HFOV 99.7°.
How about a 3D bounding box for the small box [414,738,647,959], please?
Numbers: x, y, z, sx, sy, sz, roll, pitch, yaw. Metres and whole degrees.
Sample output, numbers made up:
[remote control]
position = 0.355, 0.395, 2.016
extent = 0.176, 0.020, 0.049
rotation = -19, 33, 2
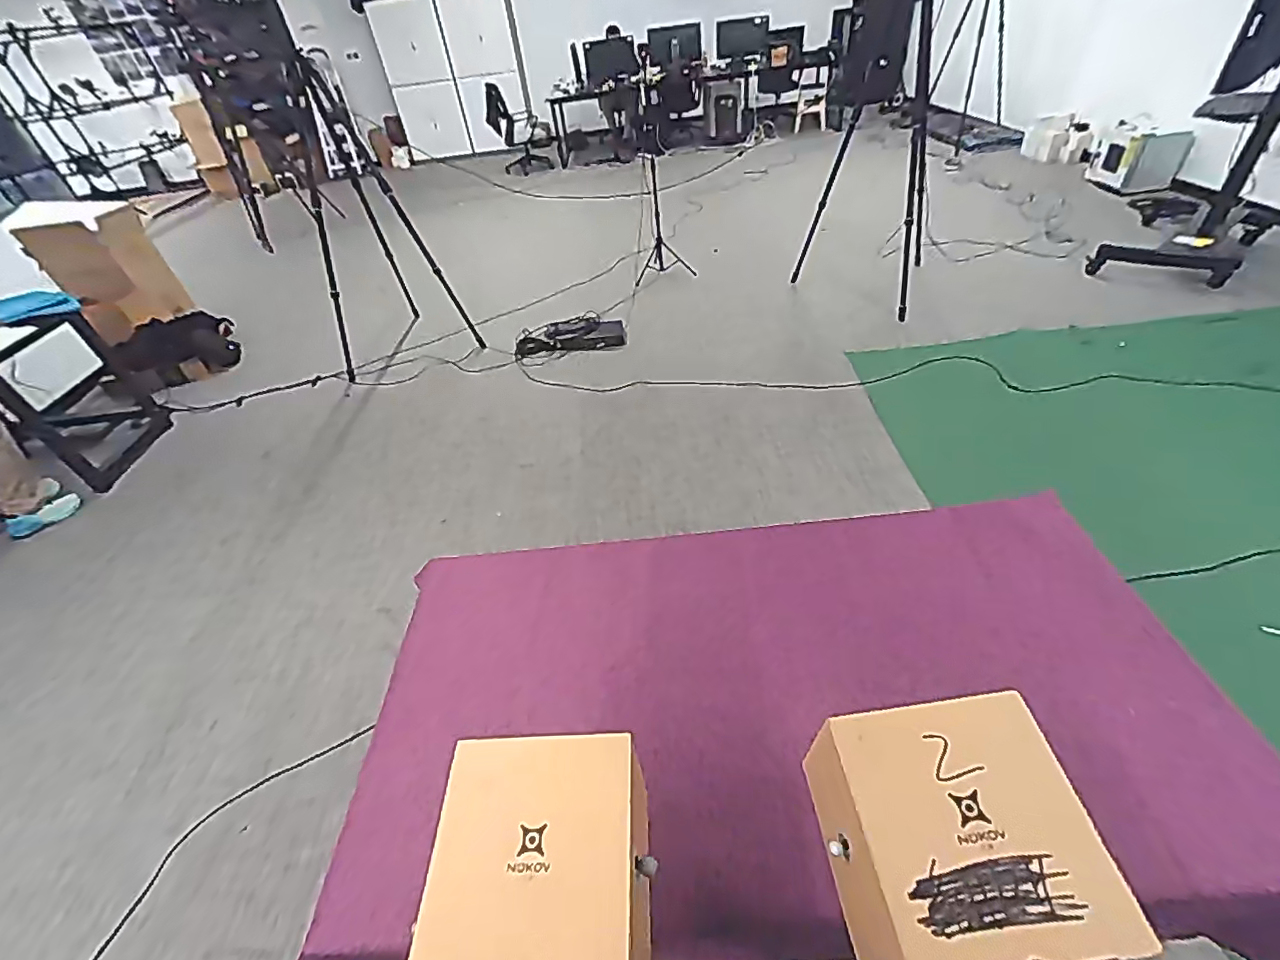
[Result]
[small box]
position = -0.083, 0.366, 0.509
extent = 0.168, 0.176, 0.179
rotation = -5, 45, 4
